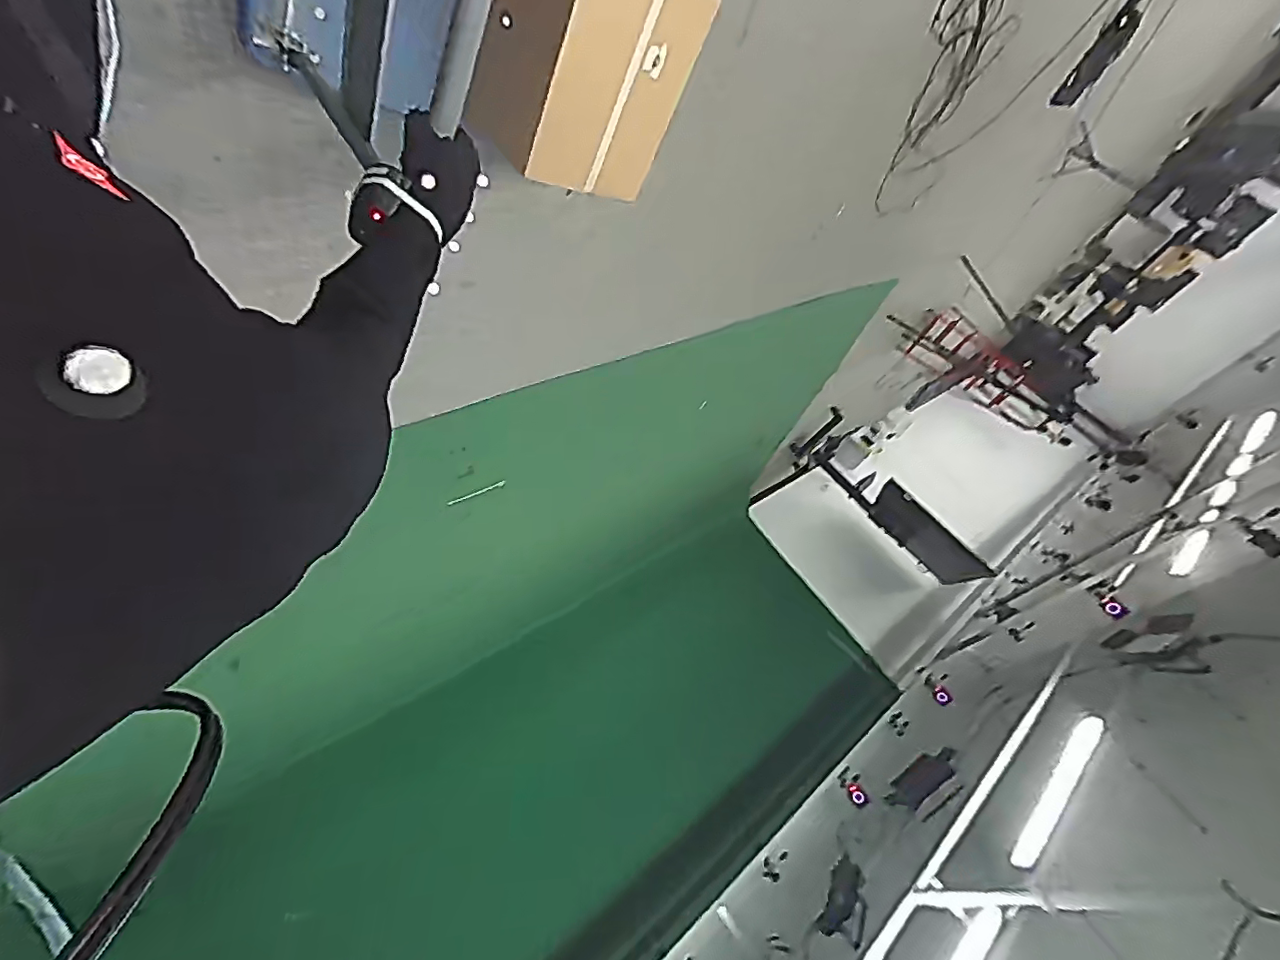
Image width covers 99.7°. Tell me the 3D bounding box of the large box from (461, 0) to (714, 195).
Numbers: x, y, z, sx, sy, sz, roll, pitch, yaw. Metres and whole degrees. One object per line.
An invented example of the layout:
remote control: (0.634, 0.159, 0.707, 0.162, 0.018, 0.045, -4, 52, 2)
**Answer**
large box: (-0.124, -0.865, 1.088, 0.320, 0.320, 0.408, -17, 149, -43)
